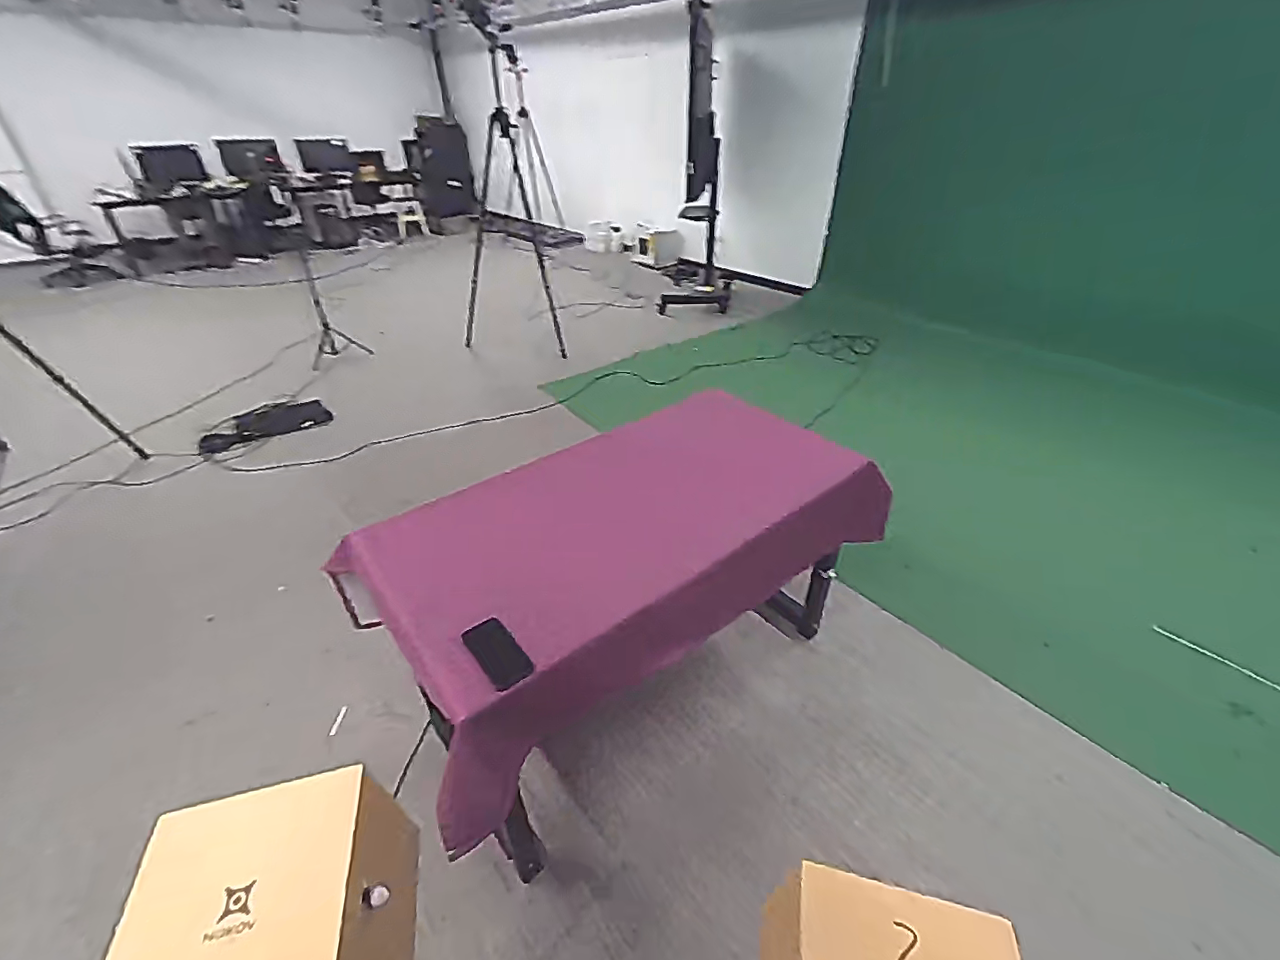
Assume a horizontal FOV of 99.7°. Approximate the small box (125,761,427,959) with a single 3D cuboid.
[{"bbox_3d":[-0.295,0.385,0.471,0.168,0.176,0.179,-11,42,-8],"label":"small box"}]
